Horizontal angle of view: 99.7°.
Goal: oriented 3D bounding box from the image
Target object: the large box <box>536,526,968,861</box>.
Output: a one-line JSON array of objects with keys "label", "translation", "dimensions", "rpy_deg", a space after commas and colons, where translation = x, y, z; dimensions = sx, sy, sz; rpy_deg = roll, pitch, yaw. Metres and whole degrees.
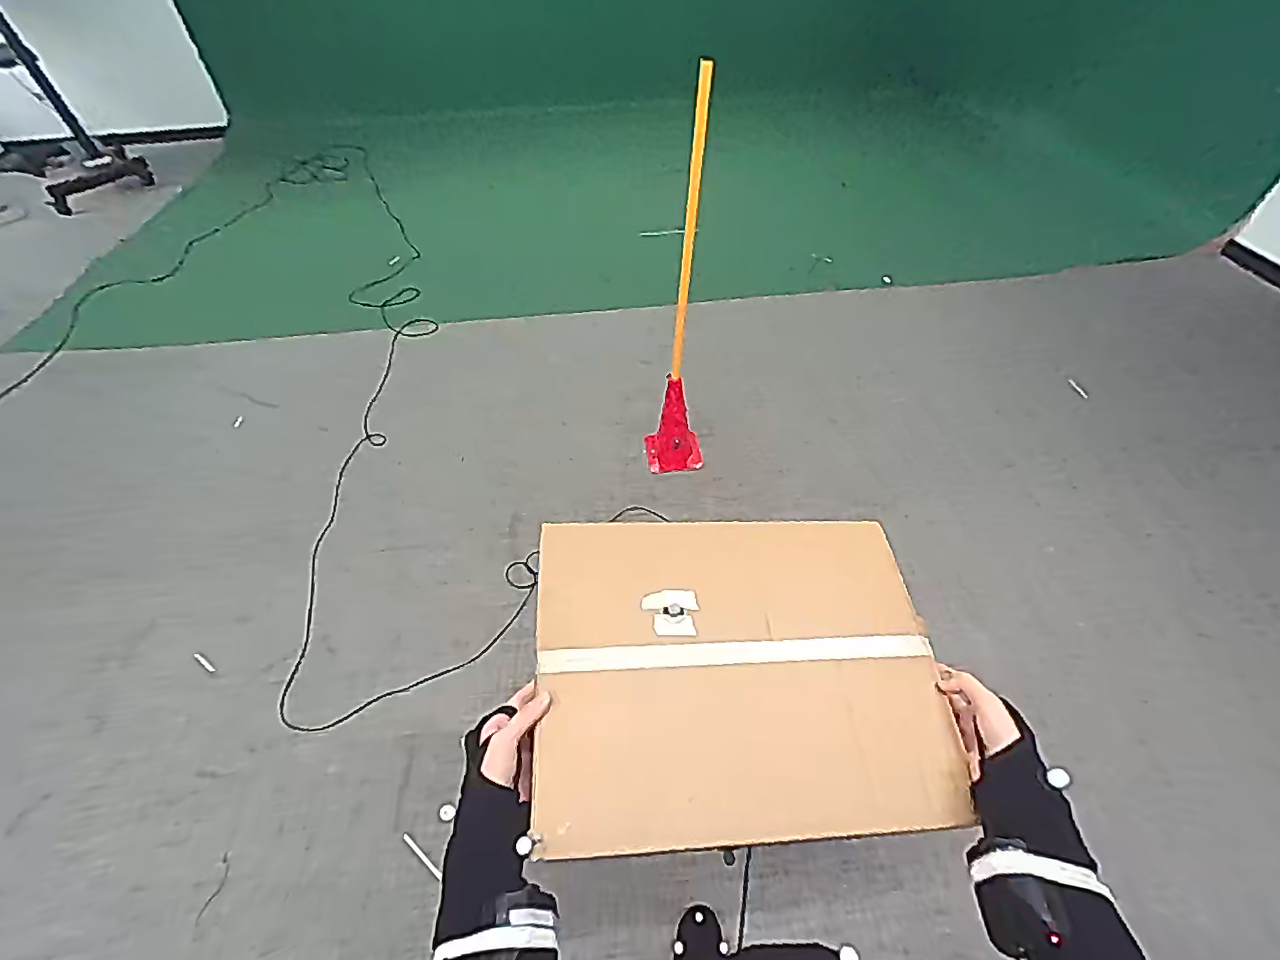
[{"label": "large box", "translation": [0.087, 0.269, 0.681], "dimensions": [0.408, 0.320, 0.320], "rpy_deg": [0, 55, -6]}]
